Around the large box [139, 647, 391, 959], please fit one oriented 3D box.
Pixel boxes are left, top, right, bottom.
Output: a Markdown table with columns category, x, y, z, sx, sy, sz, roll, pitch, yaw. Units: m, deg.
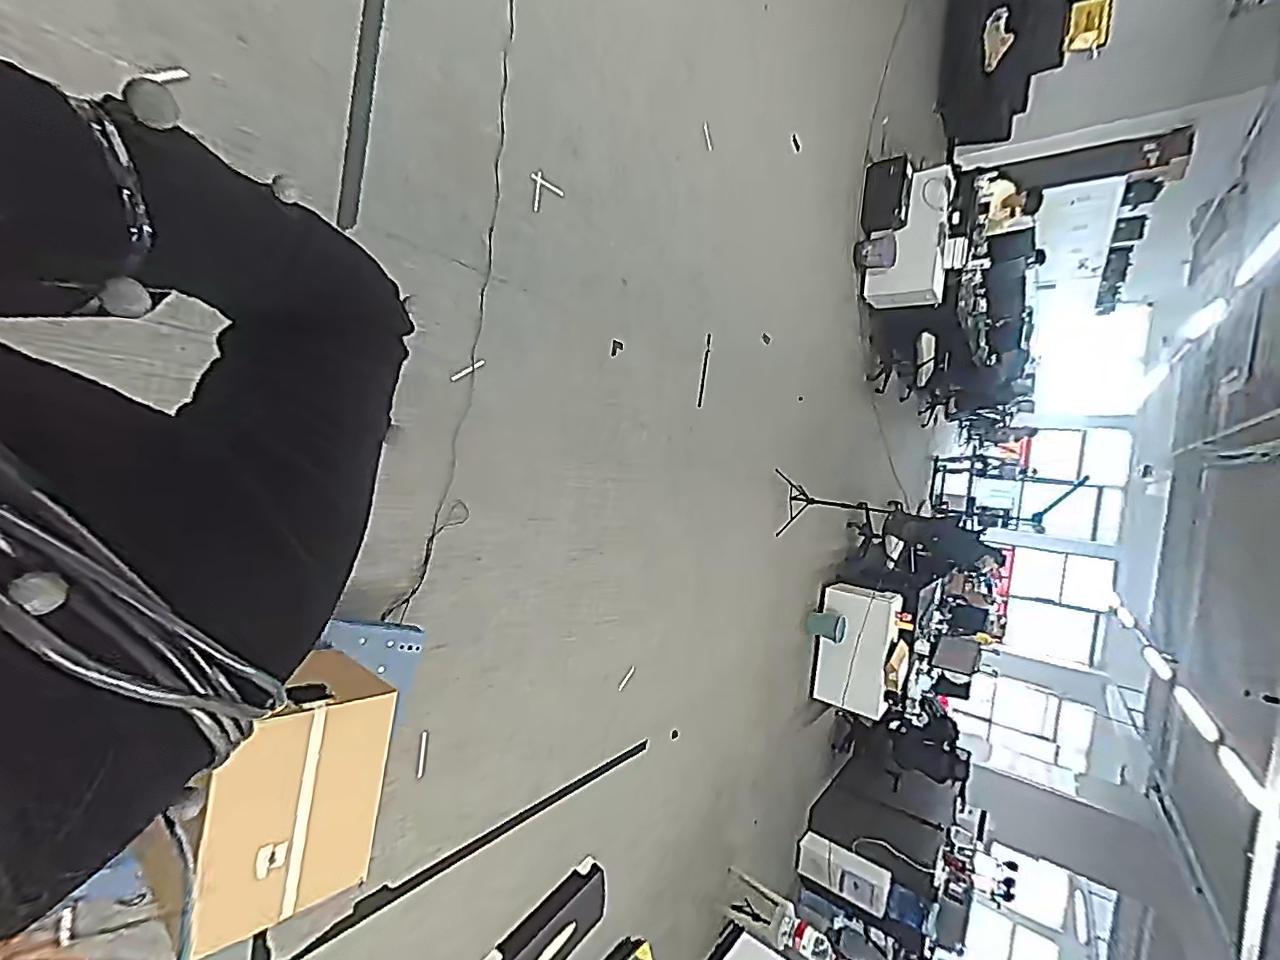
| category | x | y | z | sx | sy | sz | roll | pitch | yaw |
| --- | --- | --- | --- | --- | --- | --- | --- | --- | --- |
| large box | -0.760 | 0.602 | 1.105 | 0.320 | 0.320 | 0.408 | 11 | 89 | -52 |
